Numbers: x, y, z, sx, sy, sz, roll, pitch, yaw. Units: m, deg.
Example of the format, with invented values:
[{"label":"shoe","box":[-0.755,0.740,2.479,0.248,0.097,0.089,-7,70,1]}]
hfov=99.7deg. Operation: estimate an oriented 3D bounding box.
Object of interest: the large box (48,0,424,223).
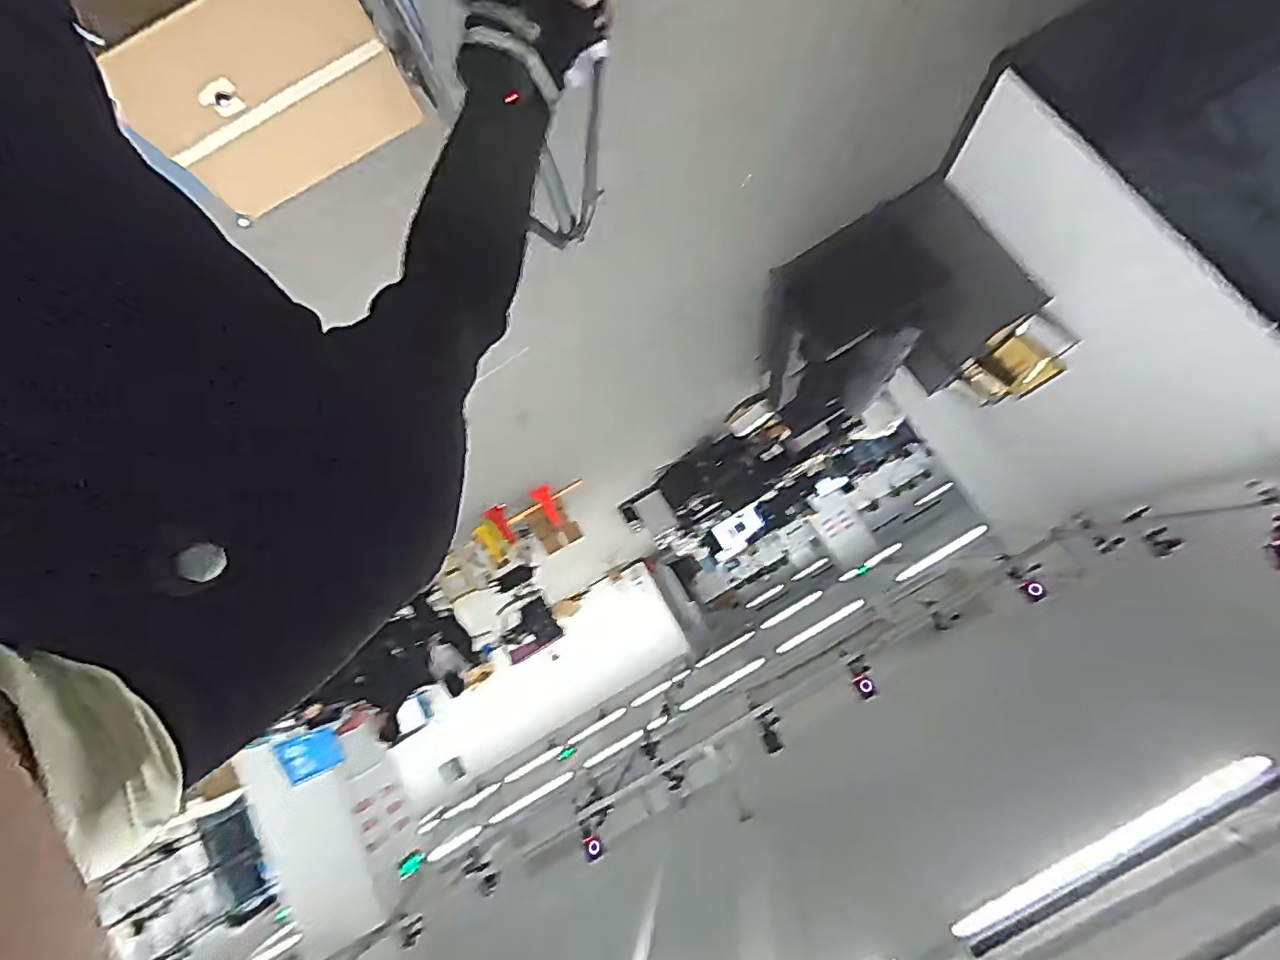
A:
[{"label":"large box","box":[-0.674,-0.753,0.937,0.408,0.320,0.320,-30,166,-1]}]
